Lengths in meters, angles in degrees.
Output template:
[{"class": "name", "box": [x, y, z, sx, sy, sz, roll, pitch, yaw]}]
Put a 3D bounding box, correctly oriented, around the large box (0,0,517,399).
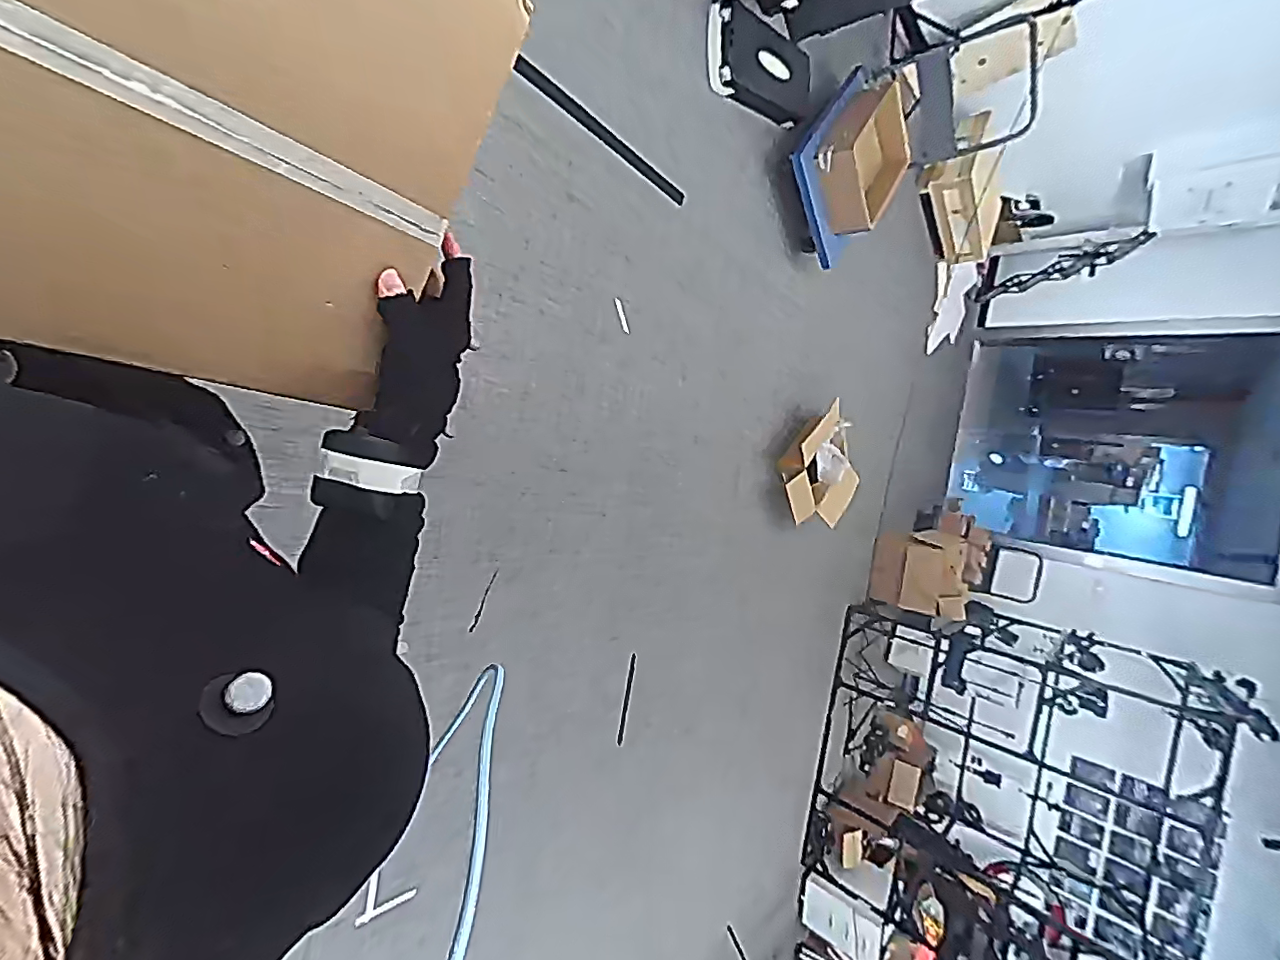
[{"class": "large box", "box": [-0.369, -0.294, 0.346, 0.408, 0.320, 0.320, 9, 120, -48]}]
